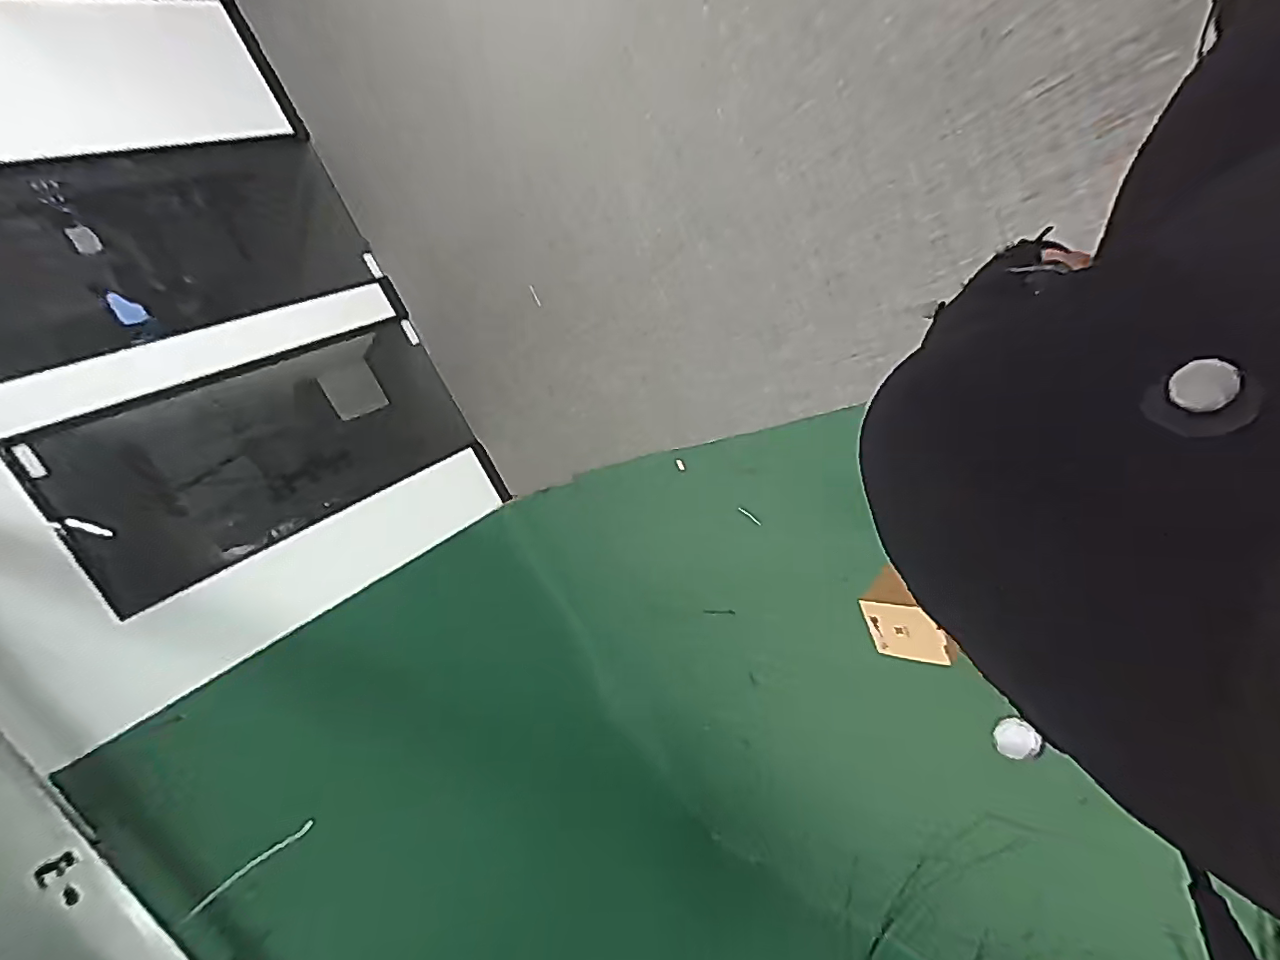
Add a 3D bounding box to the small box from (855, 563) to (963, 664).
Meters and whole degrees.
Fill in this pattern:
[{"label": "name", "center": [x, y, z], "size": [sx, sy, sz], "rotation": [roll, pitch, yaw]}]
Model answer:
[{"label": "small box", "center": [0.668, 0.319, 1.328], "size": [0.179, 0.176, 0.168], "rotation": [-7, 112, 51]}]
